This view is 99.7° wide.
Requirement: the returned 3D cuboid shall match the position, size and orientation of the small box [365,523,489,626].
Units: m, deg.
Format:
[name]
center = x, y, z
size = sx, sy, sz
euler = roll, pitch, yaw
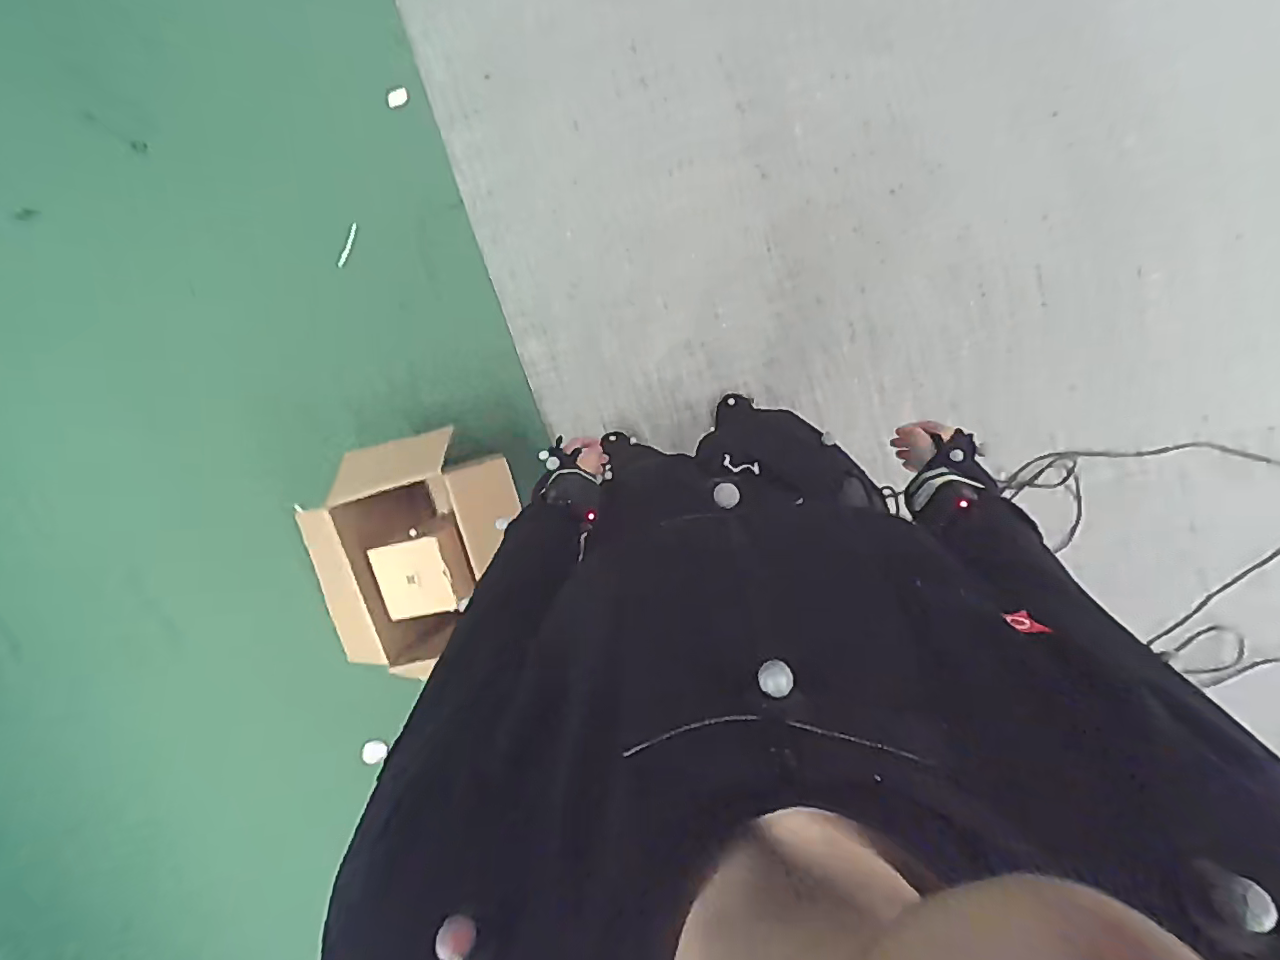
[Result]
[small box]
center = -0.473, 0.209, 1.224
size = 0.179, 0.176, 0.168
euler = -14, 98, 13
